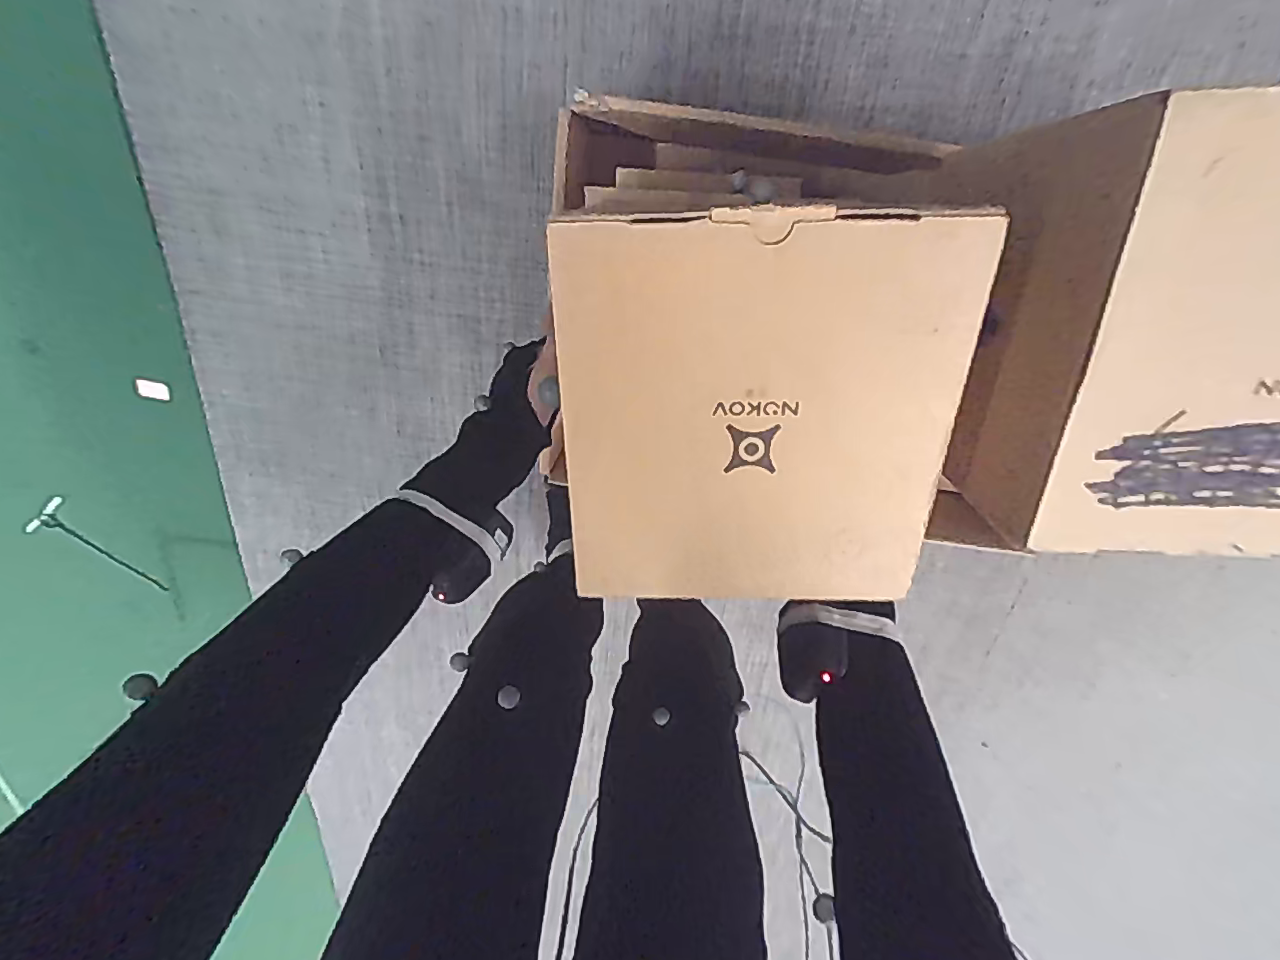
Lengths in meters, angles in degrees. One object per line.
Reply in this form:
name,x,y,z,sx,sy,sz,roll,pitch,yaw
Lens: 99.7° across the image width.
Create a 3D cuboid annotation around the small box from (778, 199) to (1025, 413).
small box,0.254,-0.191,0.581,0.168,0.176,0.179,10,117,3
